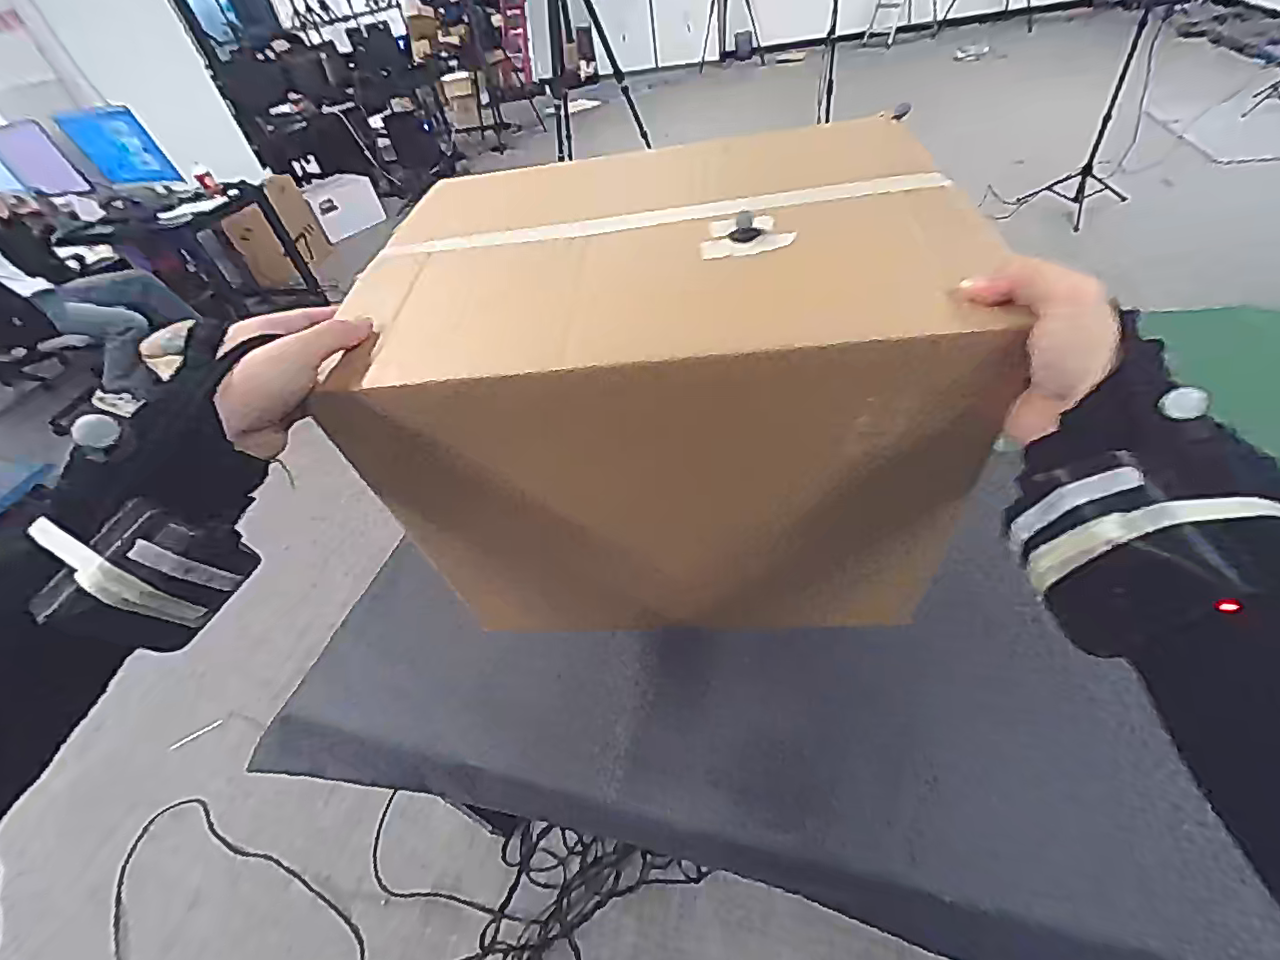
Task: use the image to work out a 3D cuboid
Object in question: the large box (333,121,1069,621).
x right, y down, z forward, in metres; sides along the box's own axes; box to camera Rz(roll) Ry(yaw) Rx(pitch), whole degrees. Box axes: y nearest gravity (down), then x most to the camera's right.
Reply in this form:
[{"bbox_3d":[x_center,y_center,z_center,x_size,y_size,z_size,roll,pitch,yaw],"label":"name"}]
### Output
[{"bbox_3d":[0.040,-0.082,0.495,0.408,0.320,0.320,-3,50,8],"label":"large box"}]
